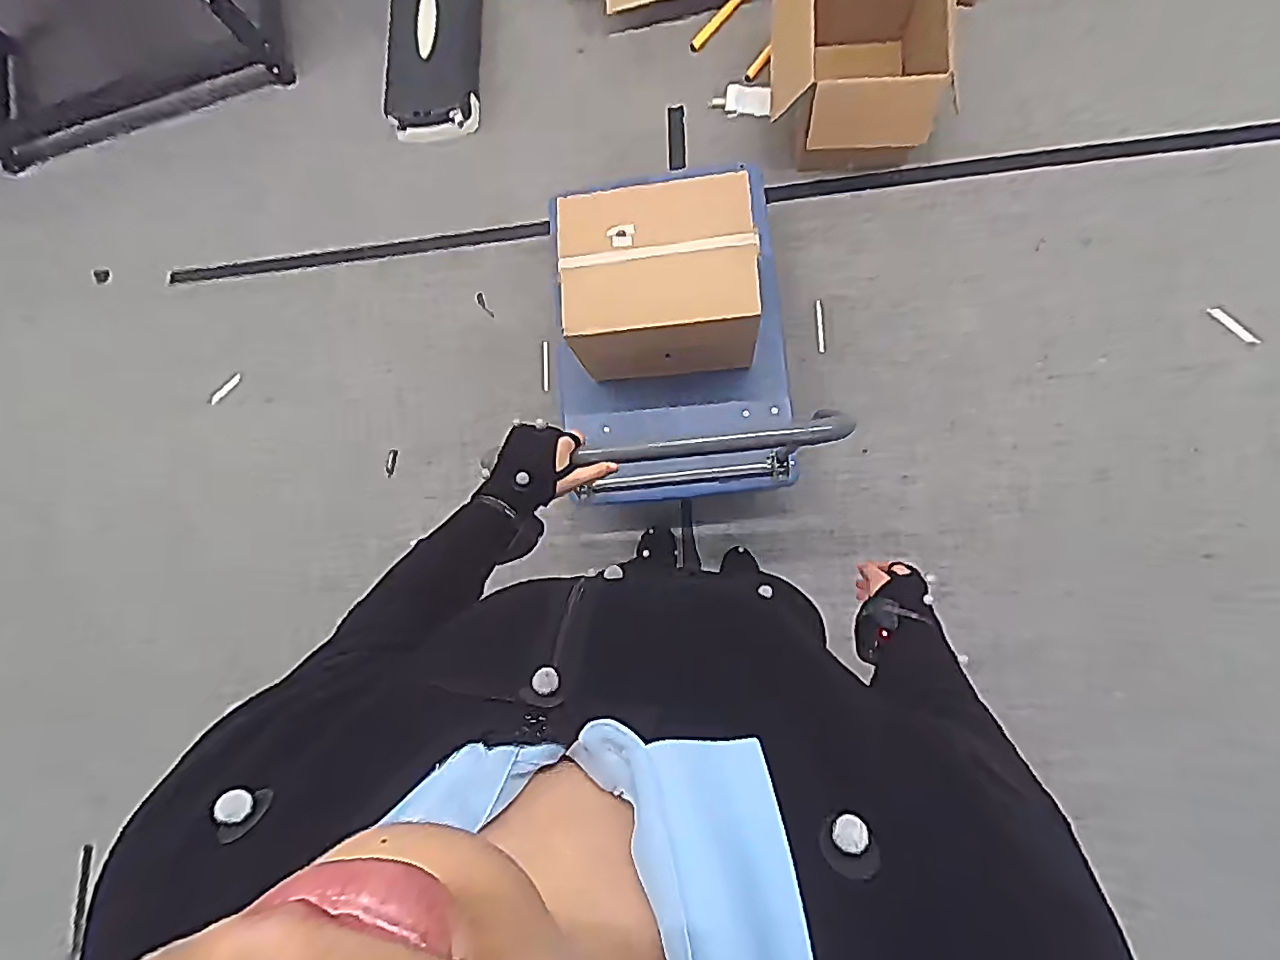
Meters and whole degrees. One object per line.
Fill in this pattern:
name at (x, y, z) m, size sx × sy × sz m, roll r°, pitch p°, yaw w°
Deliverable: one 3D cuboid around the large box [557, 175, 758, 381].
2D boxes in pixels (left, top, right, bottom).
large box at (0.051, -0.441, 1.264) m, size 0.408 × 0.320 × 0.320 m, roll -5°, pitch 81°, yaw 8°
